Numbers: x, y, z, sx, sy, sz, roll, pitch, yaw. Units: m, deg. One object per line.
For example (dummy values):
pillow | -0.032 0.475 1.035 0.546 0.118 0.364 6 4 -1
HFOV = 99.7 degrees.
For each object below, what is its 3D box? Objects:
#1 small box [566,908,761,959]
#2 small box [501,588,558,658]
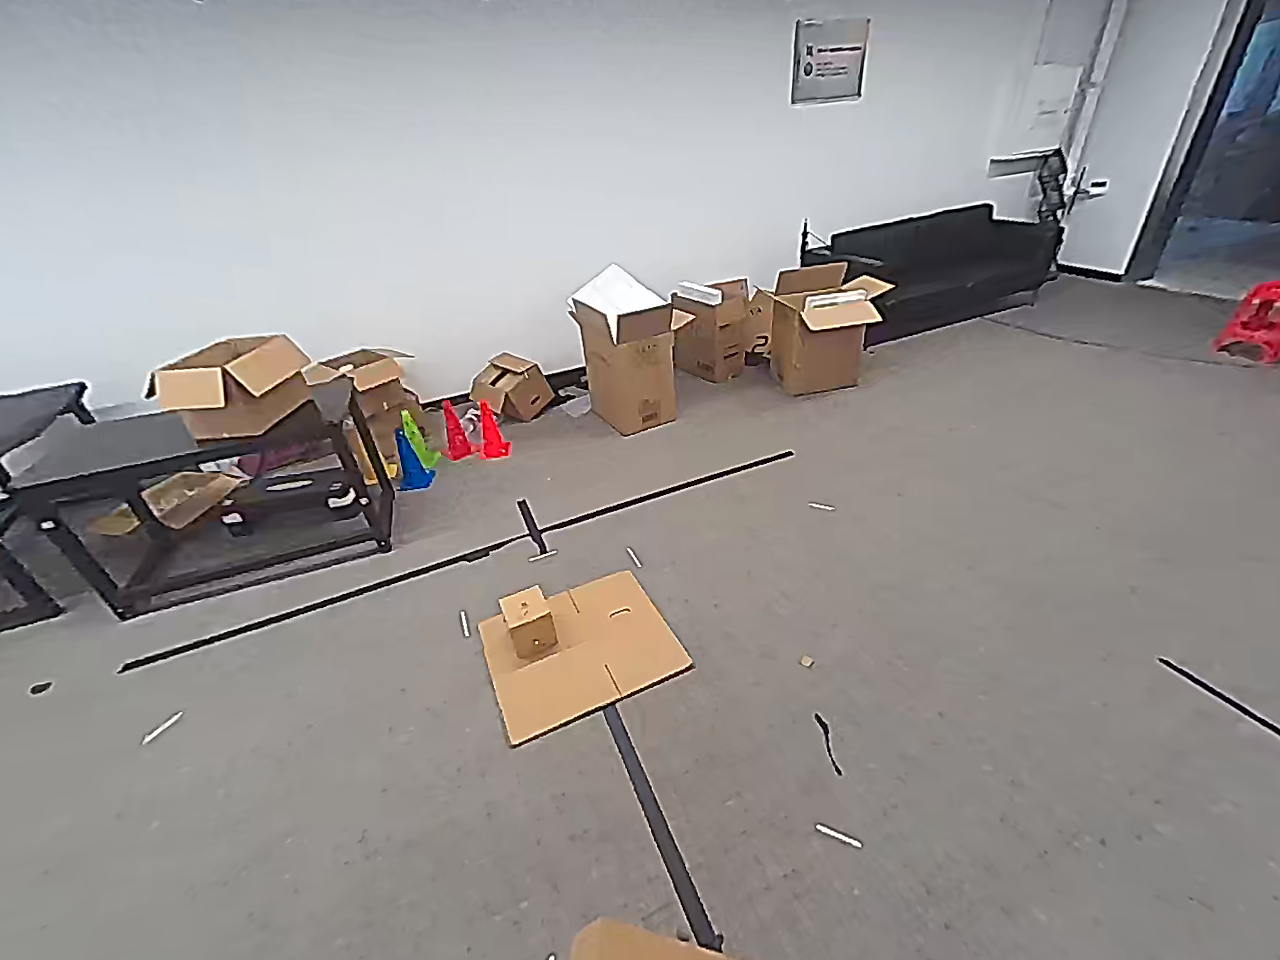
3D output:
small box | 0.003 0.548 0.521 0.179 0.176 0.168 19 44 -2
small box | -0.436 0.564 2.133 0.168 0.176 0.179 -18 35 -18
